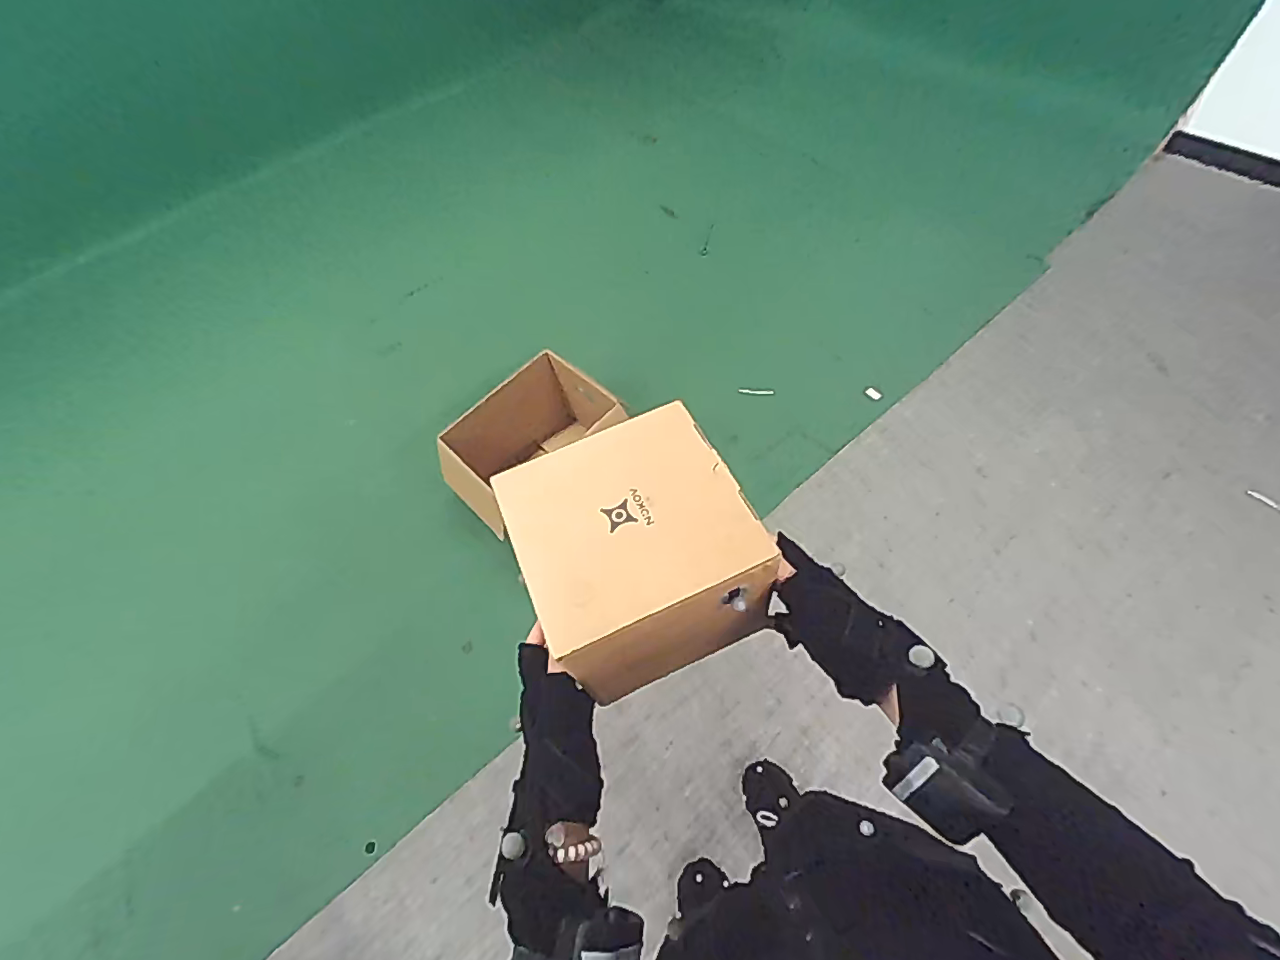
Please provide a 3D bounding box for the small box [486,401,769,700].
[{"bbox_3d":[-0.007,0.068,0.475,0.179,0.176,0.168,-24,57,-8],"label":"small box"}]
